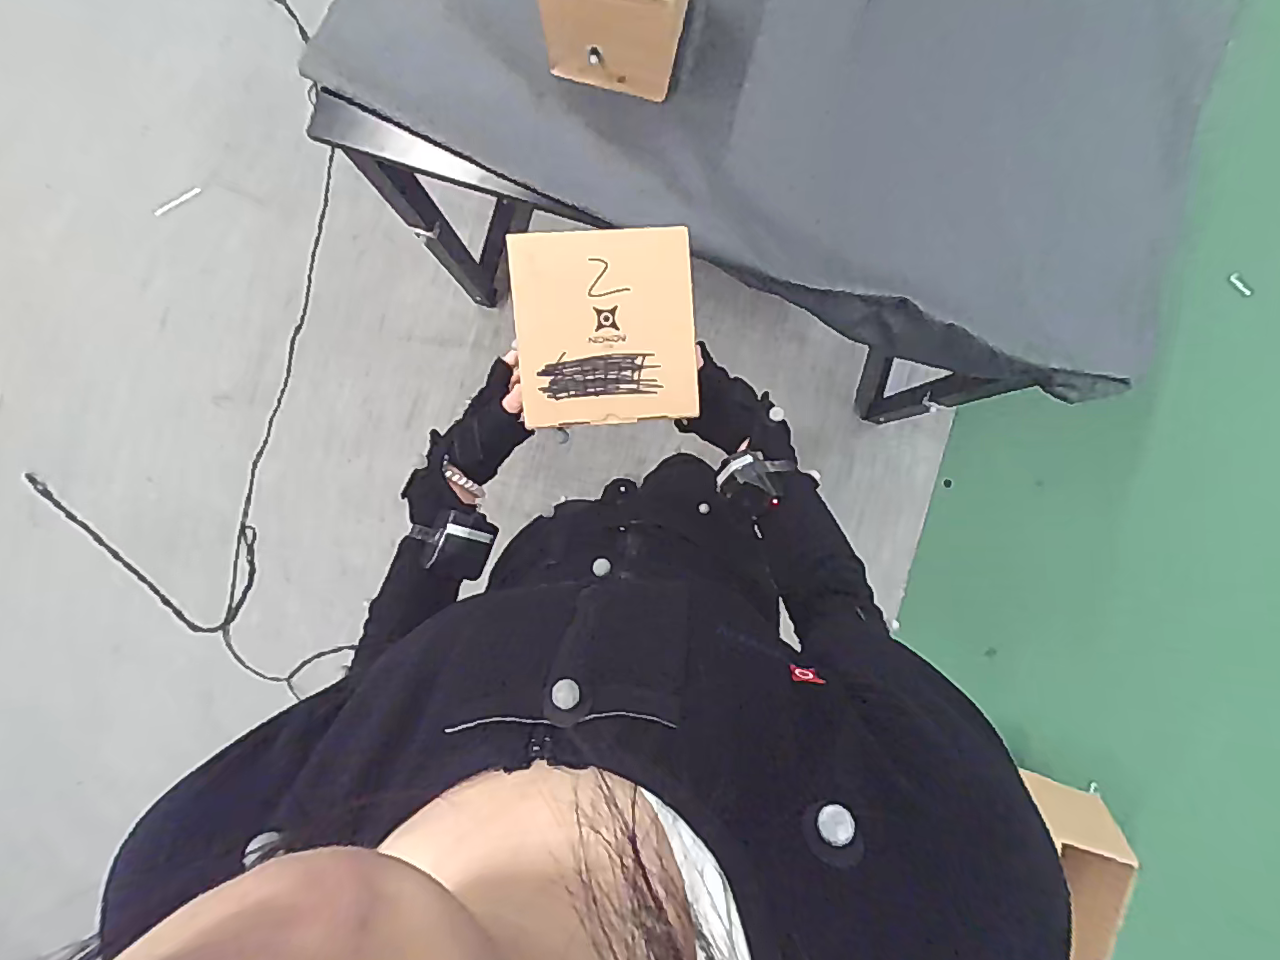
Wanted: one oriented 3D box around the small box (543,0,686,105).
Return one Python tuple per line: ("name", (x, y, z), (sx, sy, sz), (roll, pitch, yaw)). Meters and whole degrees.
("small box", (-0.027, -0.640, 0.697), (0.168, 0.176, 0.179), (14, 89, -2))
